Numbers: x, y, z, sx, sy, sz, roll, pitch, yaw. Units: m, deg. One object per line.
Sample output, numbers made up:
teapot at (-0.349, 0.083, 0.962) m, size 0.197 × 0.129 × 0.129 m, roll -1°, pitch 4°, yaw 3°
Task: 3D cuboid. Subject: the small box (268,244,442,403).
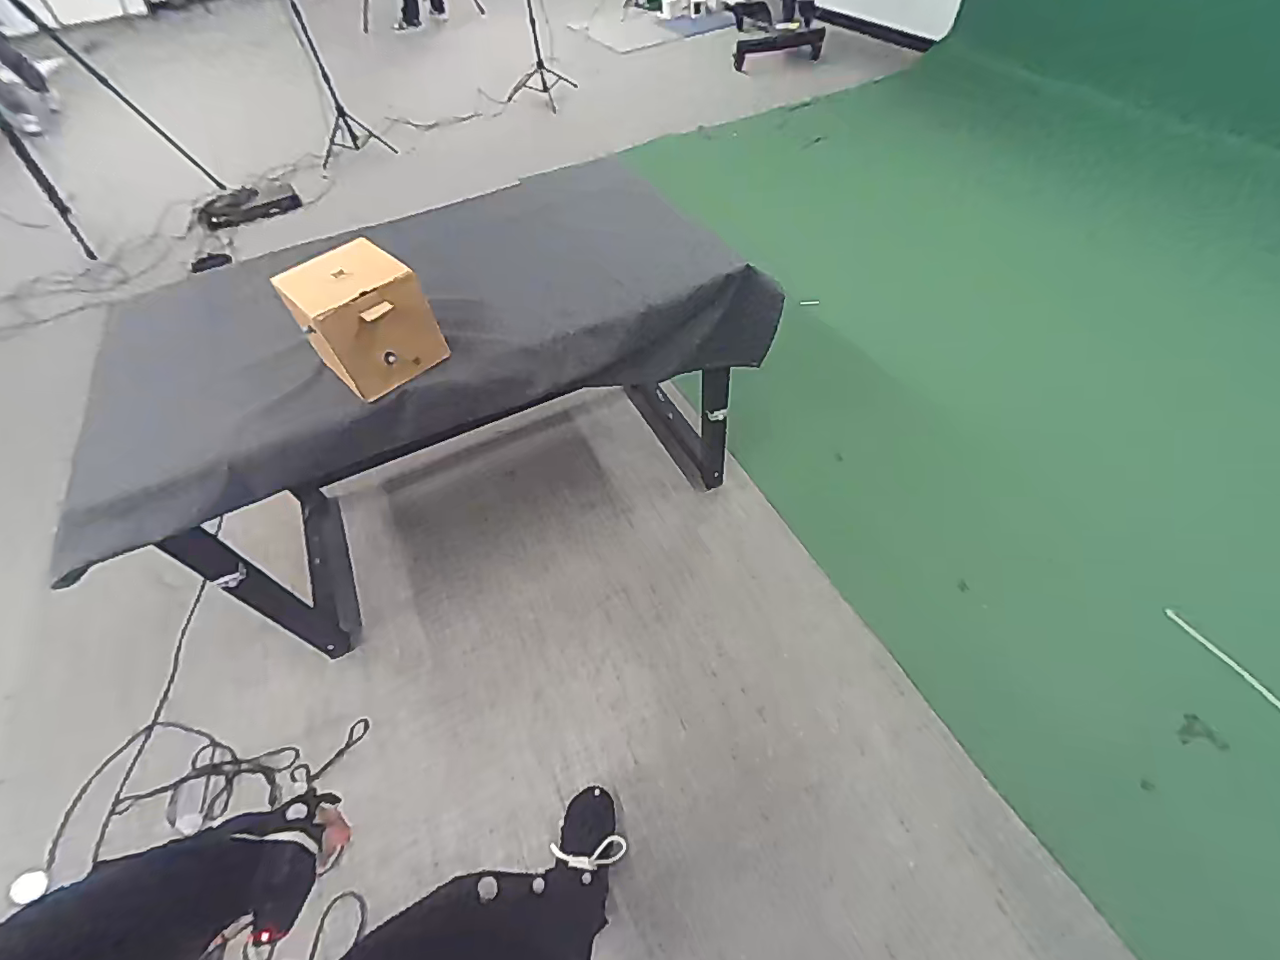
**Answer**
small box at (-0.466, -0.259, 0.904) m, size 0.179 × 0.176 × 0.168 m, roll 36°, pitch 63°, yaw 29°
